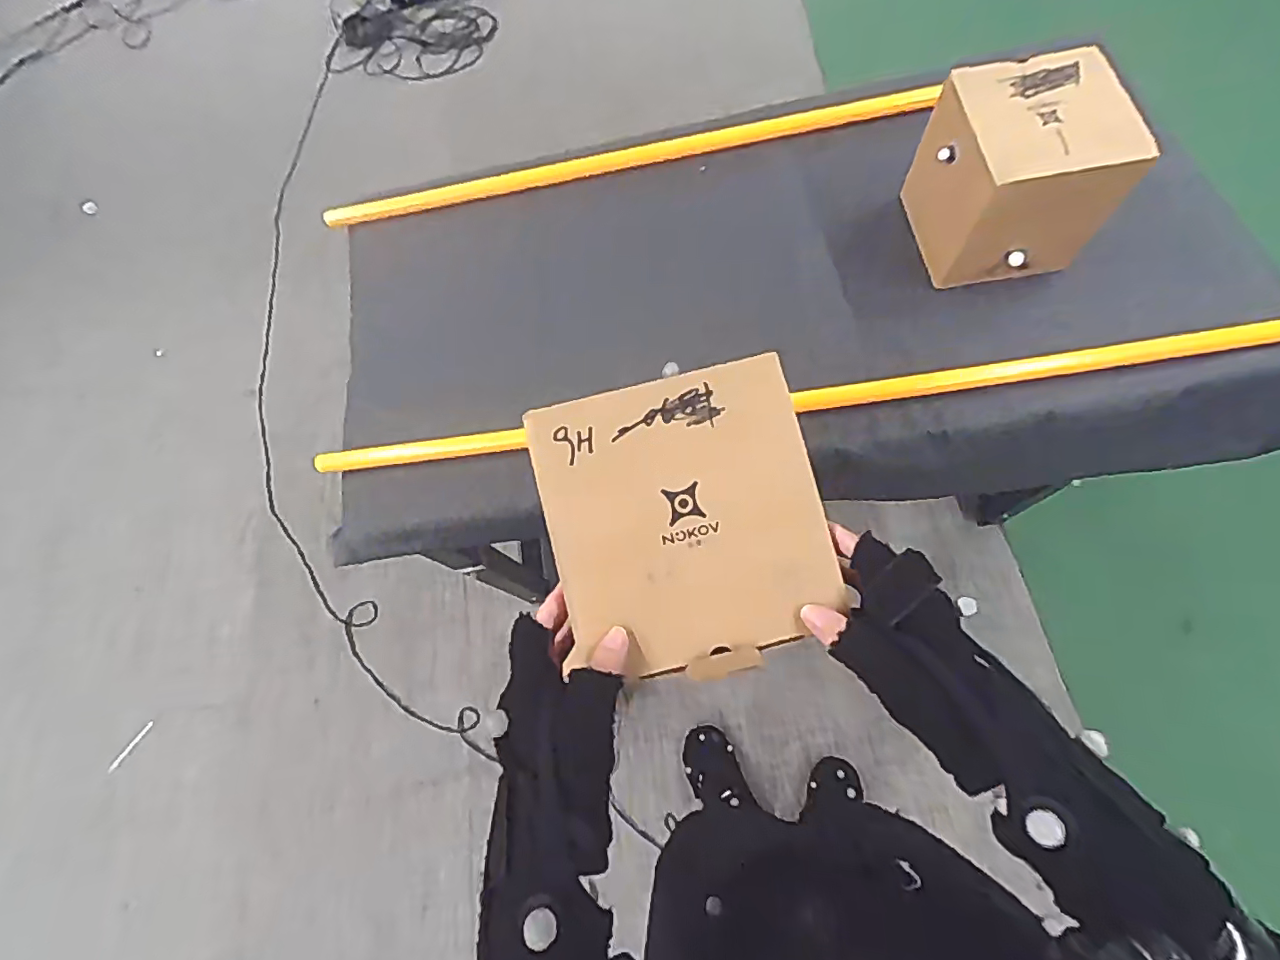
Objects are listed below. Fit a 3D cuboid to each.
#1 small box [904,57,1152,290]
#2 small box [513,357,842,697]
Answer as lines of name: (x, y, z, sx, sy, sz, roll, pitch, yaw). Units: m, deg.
small box: (0.453, -0.368, 0.670, 0.168, 0.176, 0.179, -8, 69, 5)
small box: (0.023, 0.033, 0.411, 0.168, 0.176, 0.179, -17, 85, -1)
